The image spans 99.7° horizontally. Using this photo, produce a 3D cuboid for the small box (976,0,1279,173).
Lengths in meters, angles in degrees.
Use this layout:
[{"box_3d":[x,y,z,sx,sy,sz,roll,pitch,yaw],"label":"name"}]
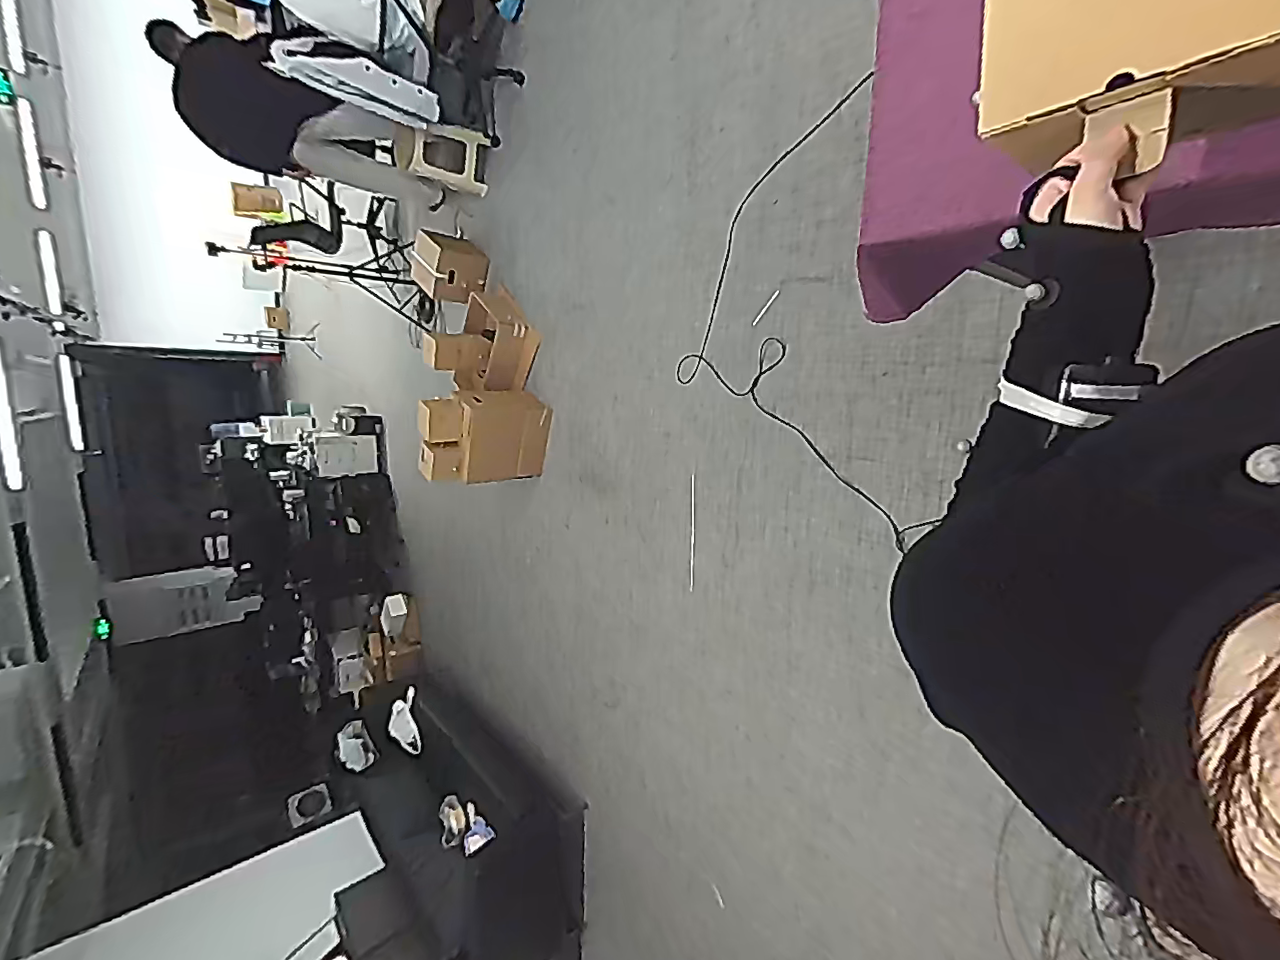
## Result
[{"box_3d":[0.375,-0.360,0.403,0.168,0.176,0.179,9,107,49],"label":"small box"}]
